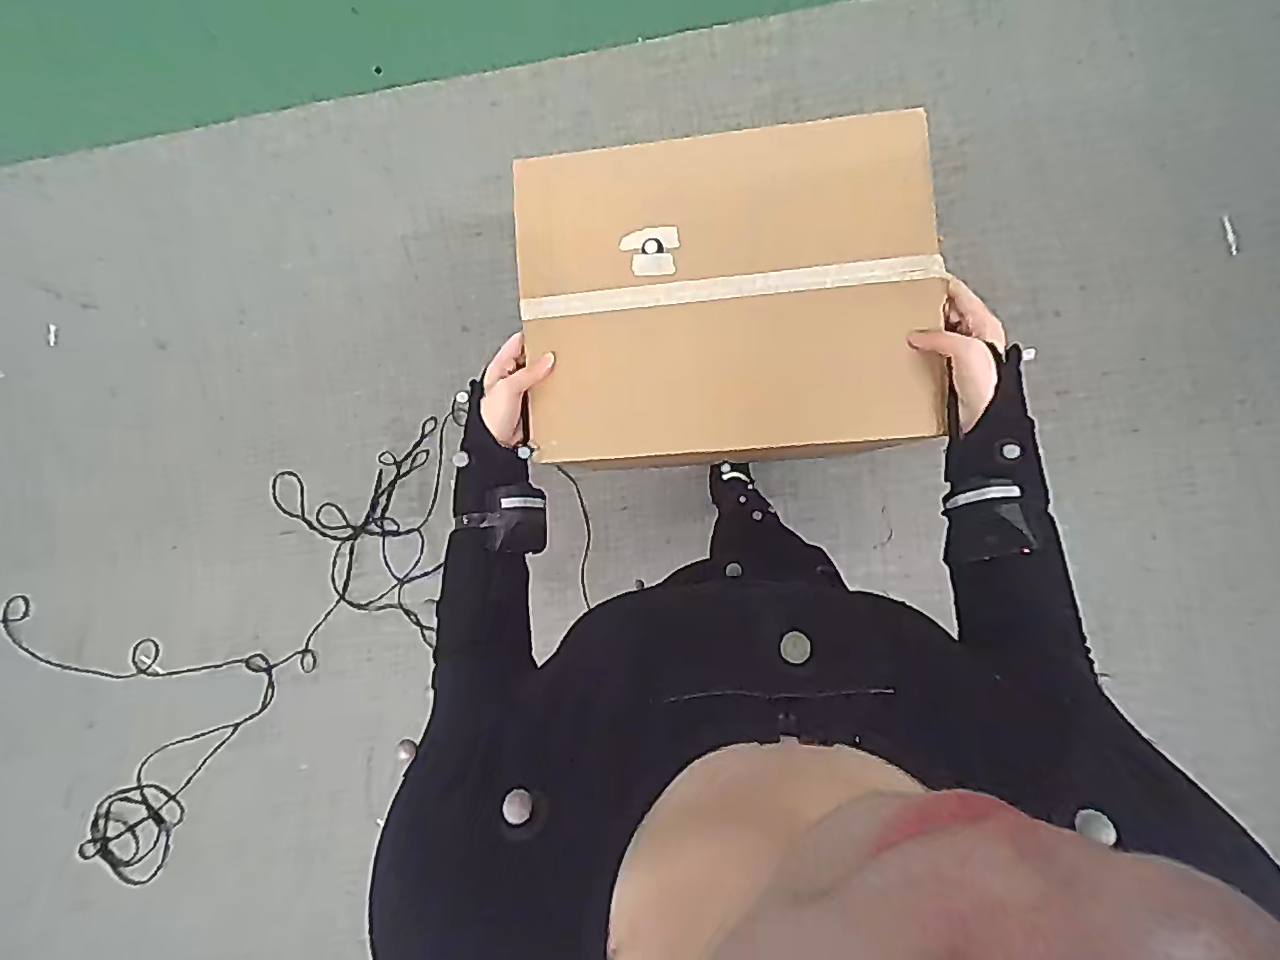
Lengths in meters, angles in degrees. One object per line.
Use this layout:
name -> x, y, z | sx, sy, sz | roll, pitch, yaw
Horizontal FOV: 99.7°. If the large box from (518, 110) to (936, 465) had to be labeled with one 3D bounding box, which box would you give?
large box -> 0.098, -0.190, 0.692 | 0.408, 0.320, 0.320 | -4, 88, 8
